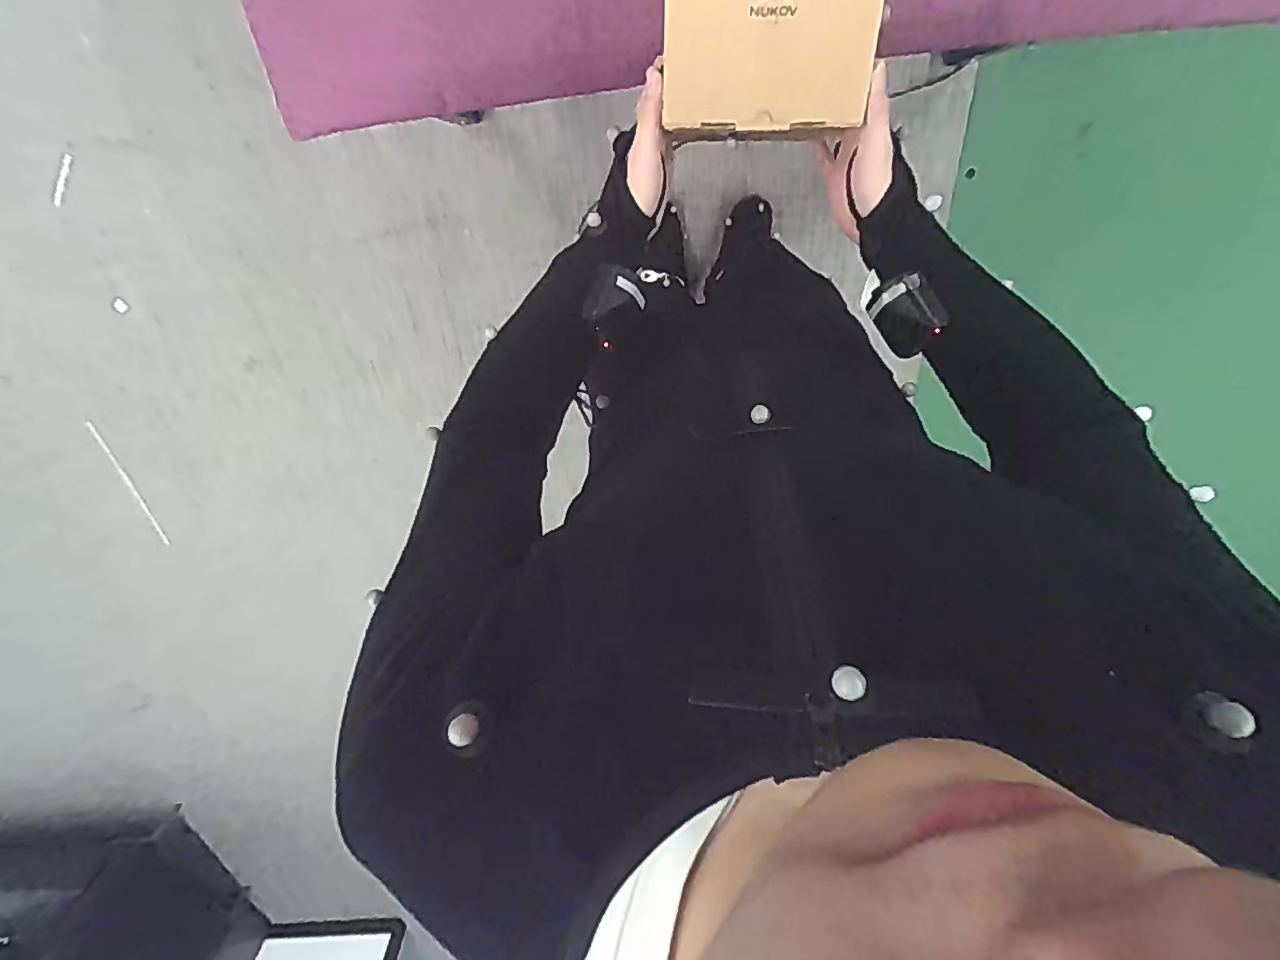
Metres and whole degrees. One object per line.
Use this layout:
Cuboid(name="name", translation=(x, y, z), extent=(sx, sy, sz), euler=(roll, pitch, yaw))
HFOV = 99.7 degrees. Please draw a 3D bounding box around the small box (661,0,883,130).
Cuboid(name="small box", translation=(0.103, -0.414, 0.470), extent=(0.168, 0.176, 0.179), euler=(1, 121, 2))
